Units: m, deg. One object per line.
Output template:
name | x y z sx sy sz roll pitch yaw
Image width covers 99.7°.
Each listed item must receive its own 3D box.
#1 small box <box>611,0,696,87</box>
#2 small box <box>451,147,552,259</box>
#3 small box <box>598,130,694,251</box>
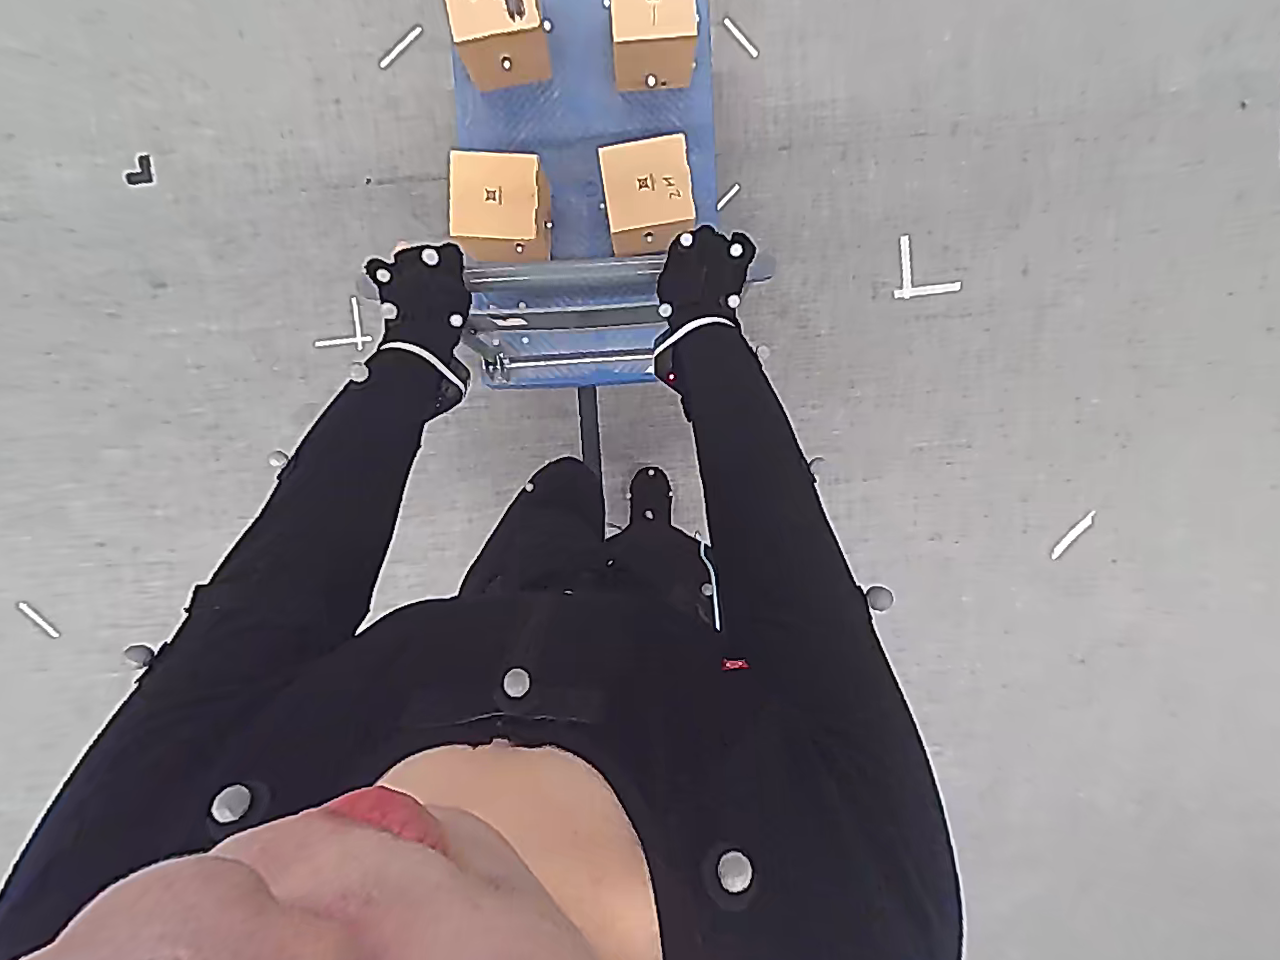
small box | 0.023 -0.957 1.117 0.168 0.176 0.179 -4 97 1
small box | -0.291 -0.584 1.159 0.179 0.176 0.168 2 96 -2
small box | 0.015 -0.606 1.155 0.179 0.176 0.168 -9 96 1
